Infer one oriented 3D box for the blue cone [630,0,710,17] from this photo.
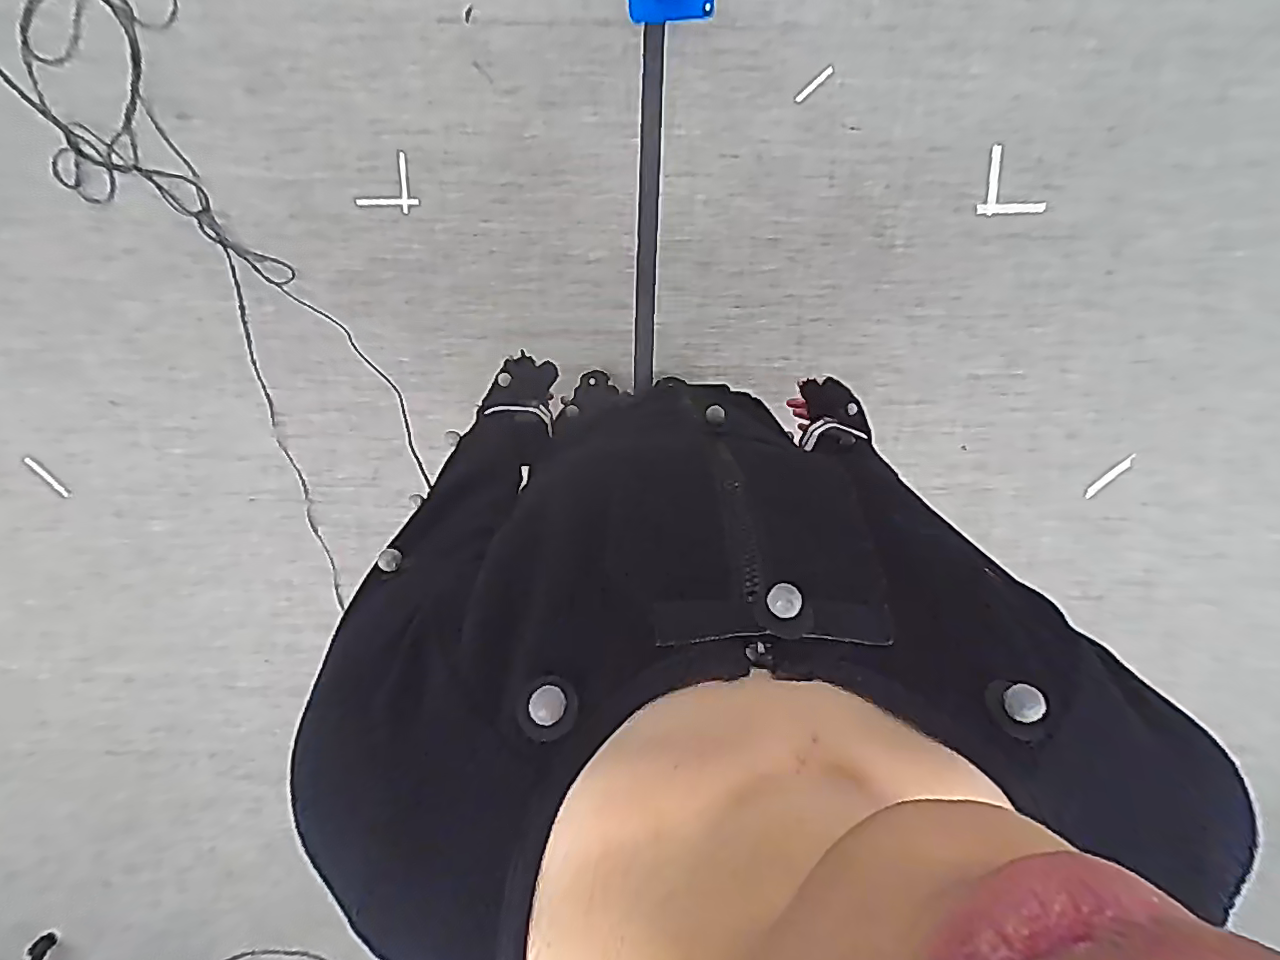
[{"bbox_3d":[0.072,-1.136,1.077,0.192,0.380,0.193,-3,102,-2],"label":"blue cone"}]
